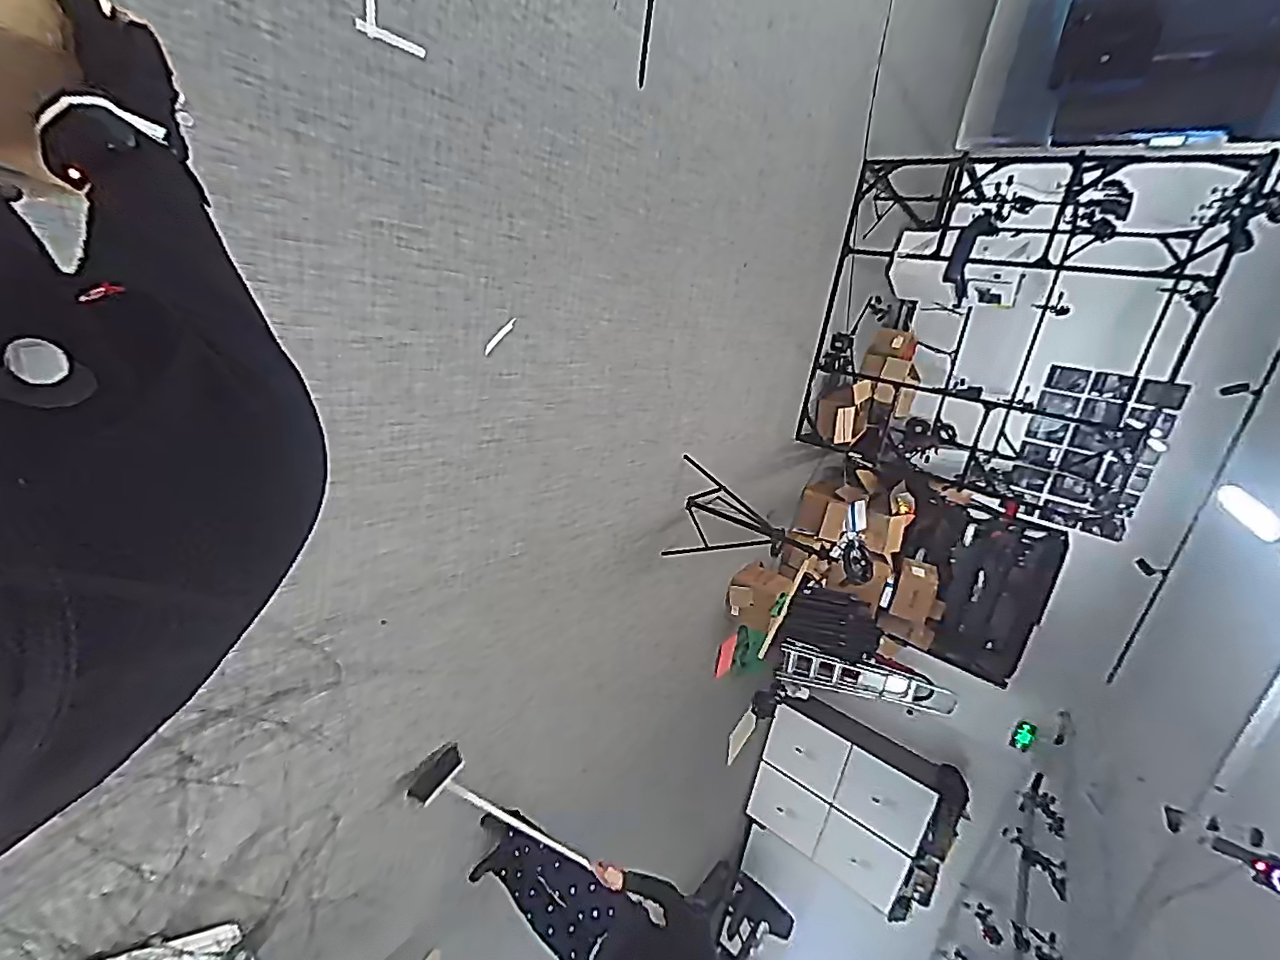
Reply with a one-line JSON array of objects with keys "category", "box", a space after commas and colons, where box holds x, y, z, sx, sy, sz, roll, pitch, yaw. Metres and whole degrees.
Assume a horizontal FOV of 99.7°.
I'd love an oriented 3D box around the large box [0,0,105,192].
[{"category": "large box", "box": [-0.705, -0.454, 0.385, 0.408, 0.320, 0.320, 2, 103, -60]}]
